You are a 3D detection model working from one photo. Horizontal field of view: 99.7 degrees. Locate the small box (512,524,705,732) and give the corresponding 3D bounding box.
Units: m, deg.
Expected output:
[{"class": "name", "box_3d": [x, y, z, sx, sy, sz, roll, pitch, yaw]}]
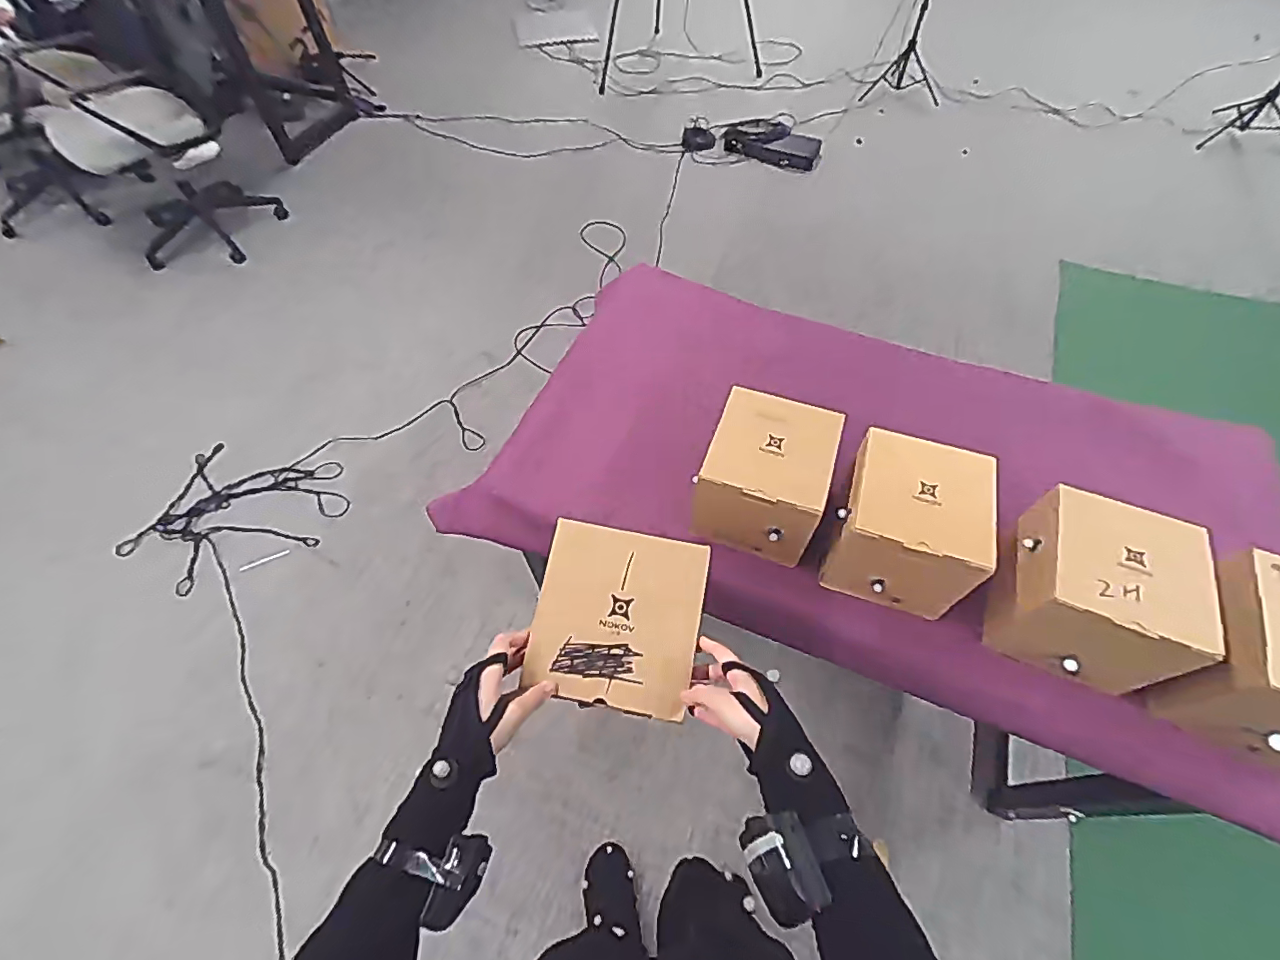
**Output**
[{"class": "small box", "box_3d": [-0.027, 0.166, 0.614, 0.168, 0.176, 0.179, 11, 72, 4]}]
